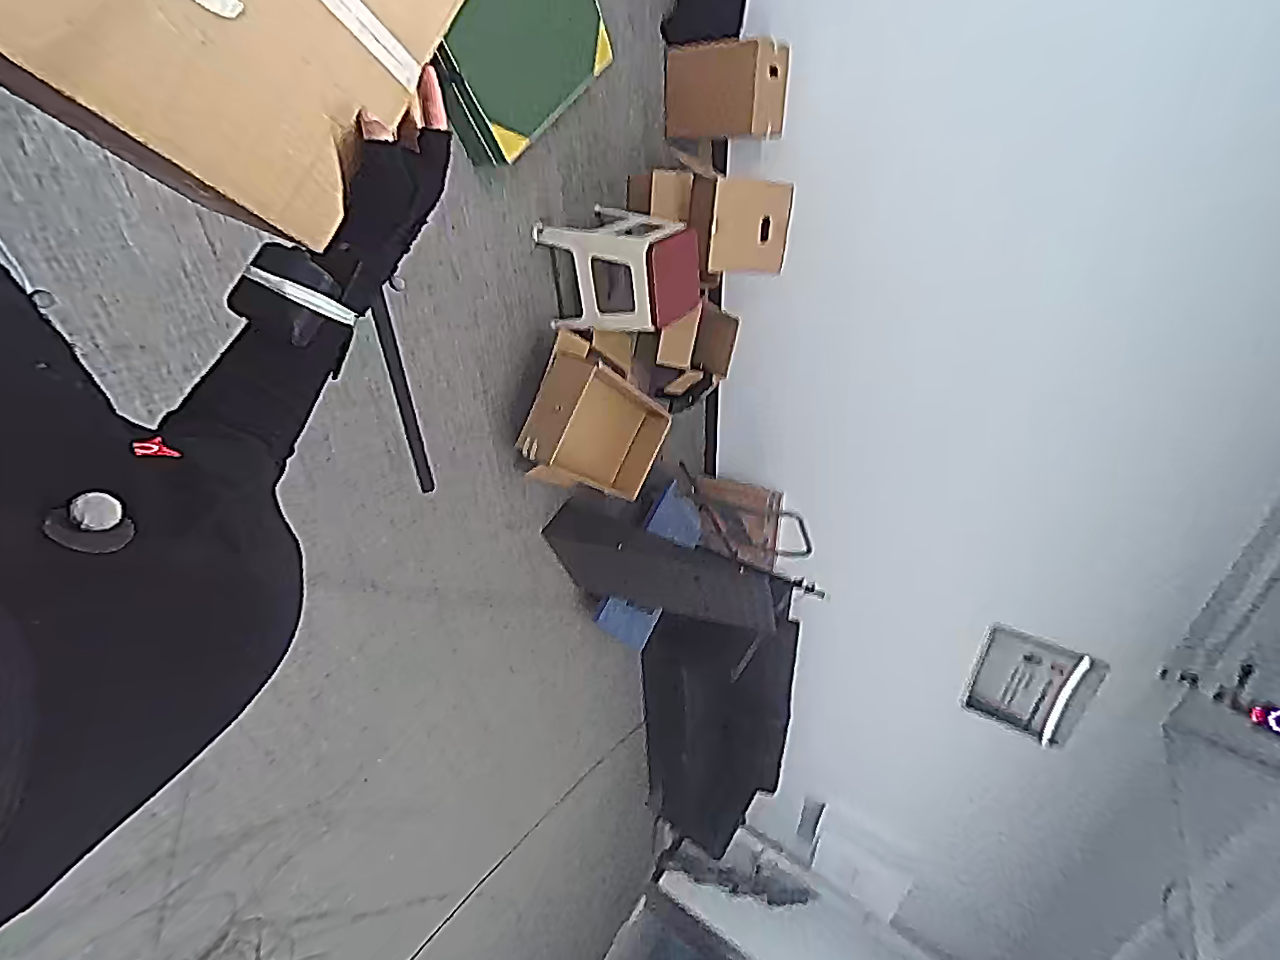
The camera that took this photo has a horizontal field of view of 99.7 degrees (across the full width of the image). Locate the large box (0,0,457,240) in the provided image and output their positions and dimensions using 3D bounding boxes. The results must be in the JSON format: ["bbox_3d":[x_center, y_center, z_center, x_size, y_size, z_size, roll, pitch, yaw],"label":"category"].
[{"bbox_3d":[-0.393,-0.435,0.357,0.320,0.320,0.408,-61,147,0],"label":"large box"}]
